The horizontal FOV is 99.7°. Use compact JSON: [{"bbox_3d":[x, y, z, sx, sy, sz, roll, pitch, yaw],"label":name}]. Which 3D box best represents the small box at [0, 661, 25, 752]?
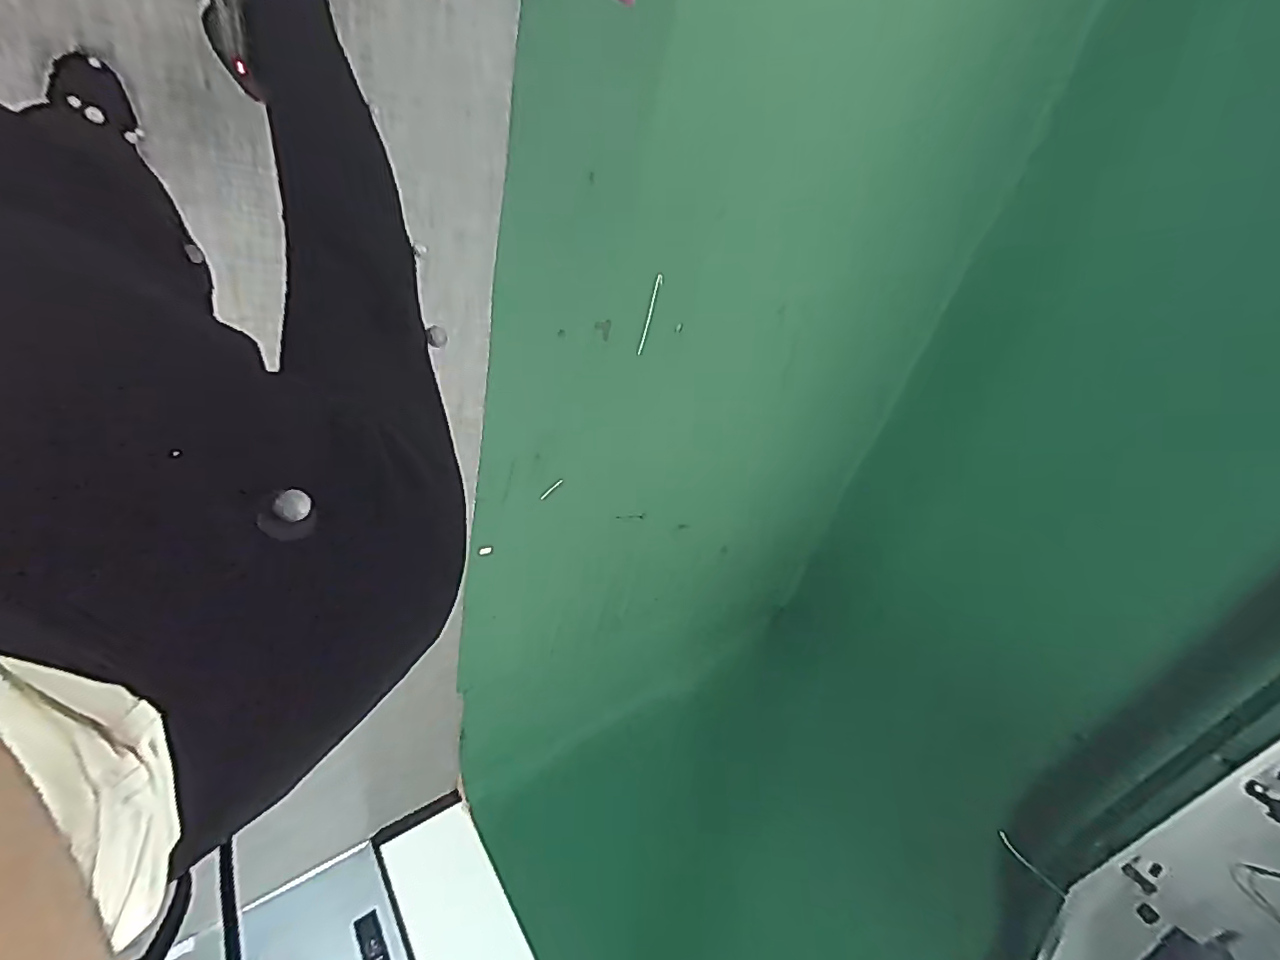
[{"bbox_3d":[-1.683,0.586,1.346,0.179,0.176,0.168,-13,131,-39],"label":"small box"}]
